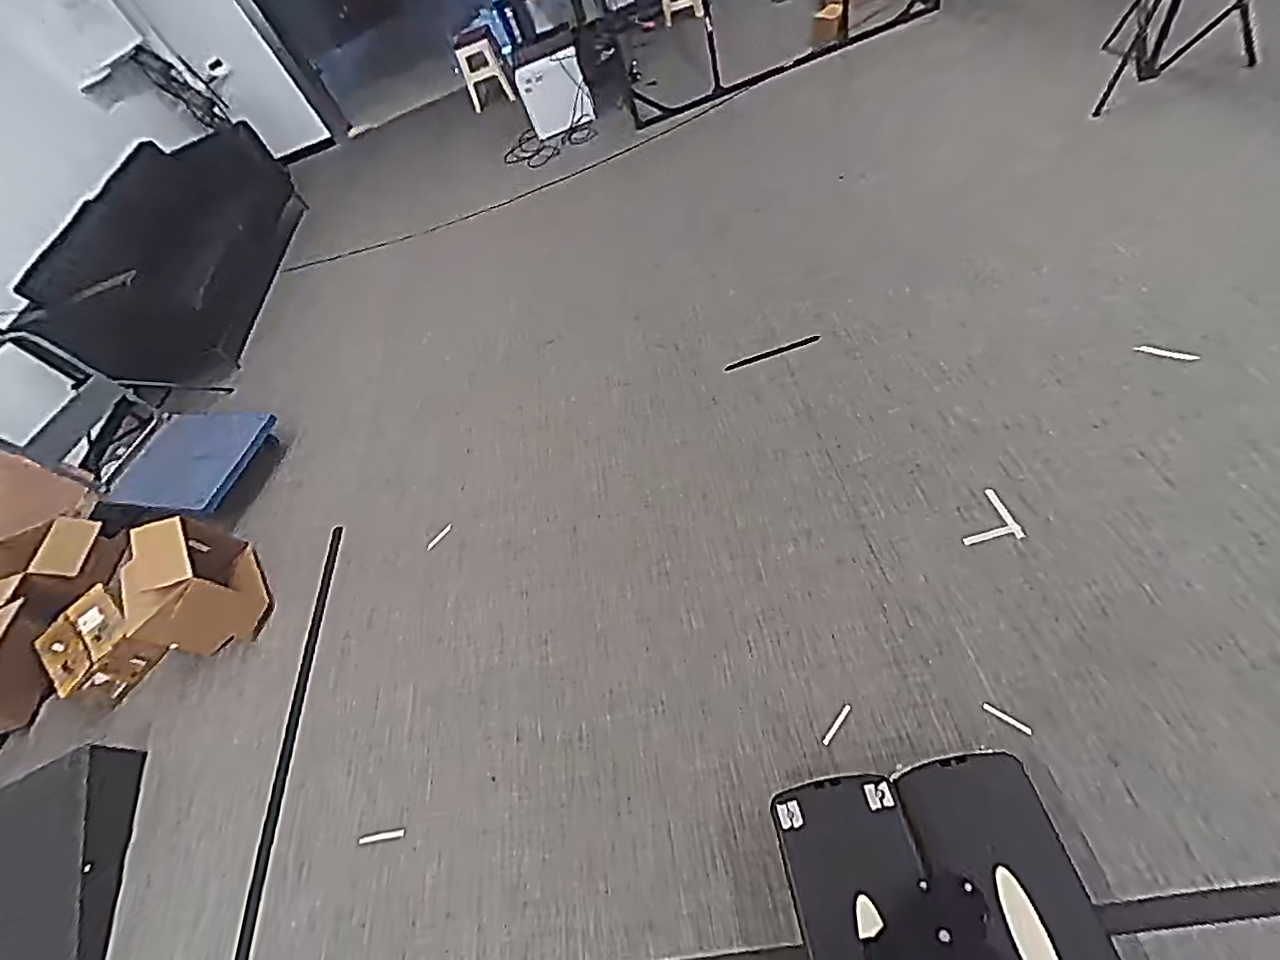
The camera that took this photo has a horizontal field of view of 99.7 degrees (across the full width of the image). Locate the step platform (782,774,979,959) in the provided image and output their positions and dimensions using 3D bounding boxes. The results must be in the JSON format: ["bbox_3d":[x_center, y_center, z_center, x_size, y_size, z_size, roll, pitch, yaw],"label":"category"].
[{"bbox_3d":[0.517,0.974,1.073,0.286,0.204,0.684,-17,52,8],"label":"step platform"}]
